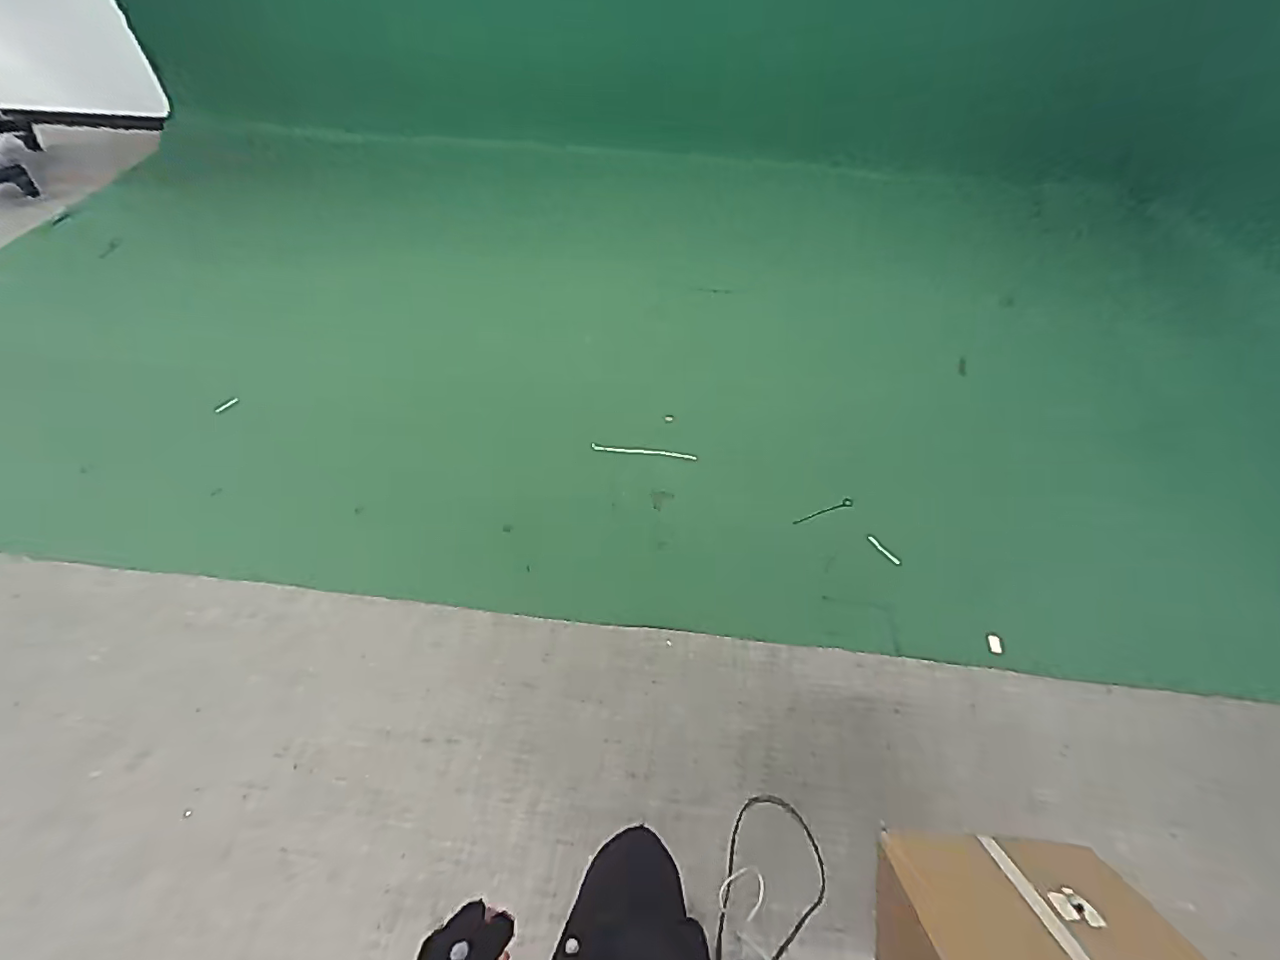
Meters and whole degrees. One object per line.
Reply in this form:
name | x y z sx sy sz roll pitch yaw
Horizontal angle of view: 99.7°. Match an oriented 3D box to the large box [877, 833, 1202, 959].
large box | 0.507 0.711 0.642 0.320 0.408 0.320 1 92 6
